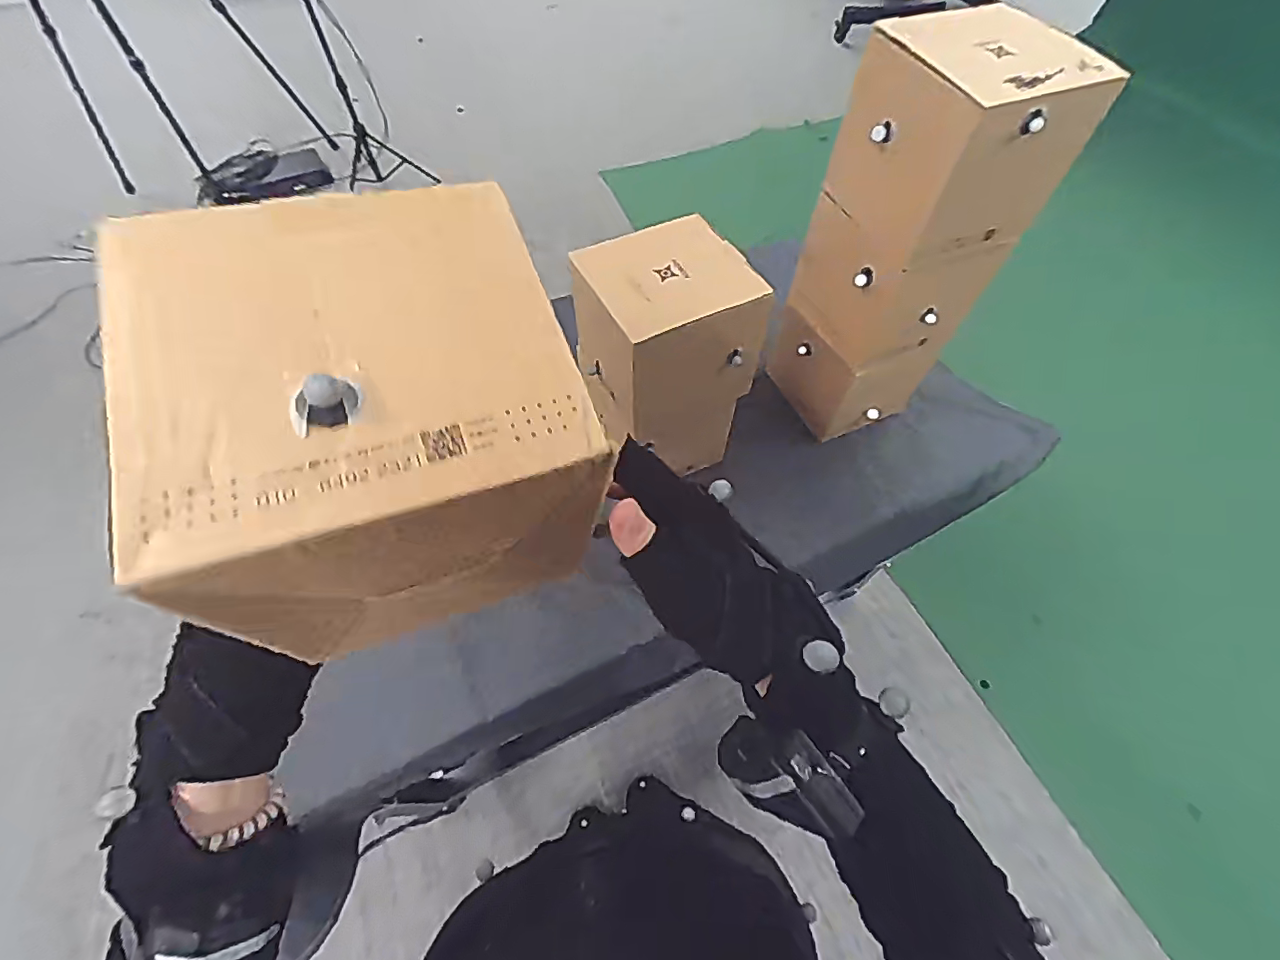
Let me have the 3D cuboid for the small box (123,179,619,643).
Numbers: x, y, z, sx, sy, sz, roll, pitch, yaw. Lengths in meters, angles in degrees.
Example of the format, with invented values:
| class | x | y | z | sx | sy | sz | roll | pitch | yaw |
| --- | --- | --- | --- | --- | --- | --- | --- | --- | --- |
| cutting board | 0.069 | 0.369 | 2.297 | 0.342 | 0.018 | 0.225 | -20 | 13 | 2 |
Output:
| class | x | y | z | sx | sy | sz | roll | pitch | yaw |
| --- | --- | --- | --- | --- | --- | --- | --- | --- | --- |
| small box | -0.125 | -0.022 | 0.294 | 0.168 | 0.179 | 0.176 | -17 | 72 | -19 |

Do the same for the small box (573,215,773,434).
| class | x | y | z | sx | sy | sz | roll | pitch | yaw |
| --- | --- | --- | --- | --- | --- | --- | --- | --- | --- |
| small box | 0.032 | -0.188 | 0.670 | 0.179 | 0.176 | 0.168 | -24 | 61 | -14 |

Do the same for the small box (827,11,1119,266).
| class | x | y | z | sx | sy | sz | roll | pitch | yaw |
| --- | --- | --- | --- | --- | --- | --- | --- | --- | --- |
| small box | 0.333 | -0.366 | 0.588 | 0.168 | 0.176 | 0.179 | -18 | 60 | -11 |

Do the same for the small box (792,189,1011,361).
| class | x | y | z | sx | sy | sz | roll | pitch | yaw |
| --- | --- | --- | --- | --- | --- | --- | --- | --- | --- |
| small box | 0.333 | -0.283 | 0.730 | 0.168 | 0.176 | 0.179 | -20 | 61 | -12 |
